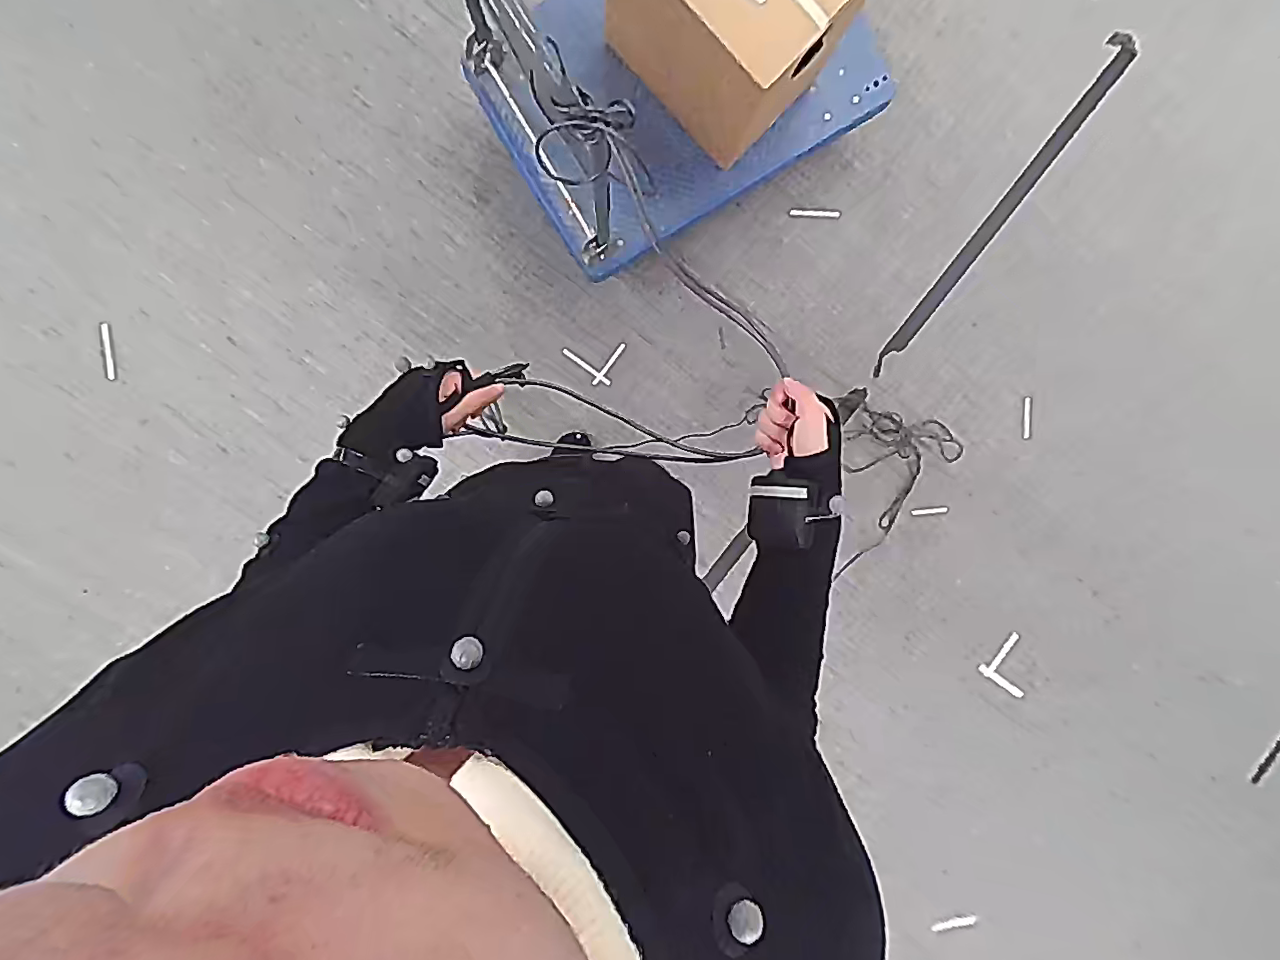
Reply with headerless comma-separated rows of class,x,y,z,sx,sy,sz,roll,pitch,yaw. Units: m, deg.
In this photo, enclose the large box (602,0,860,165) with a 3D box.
large box,0.172,-0.960,1.093,0.408,0.320,0.320,43,91,-8
